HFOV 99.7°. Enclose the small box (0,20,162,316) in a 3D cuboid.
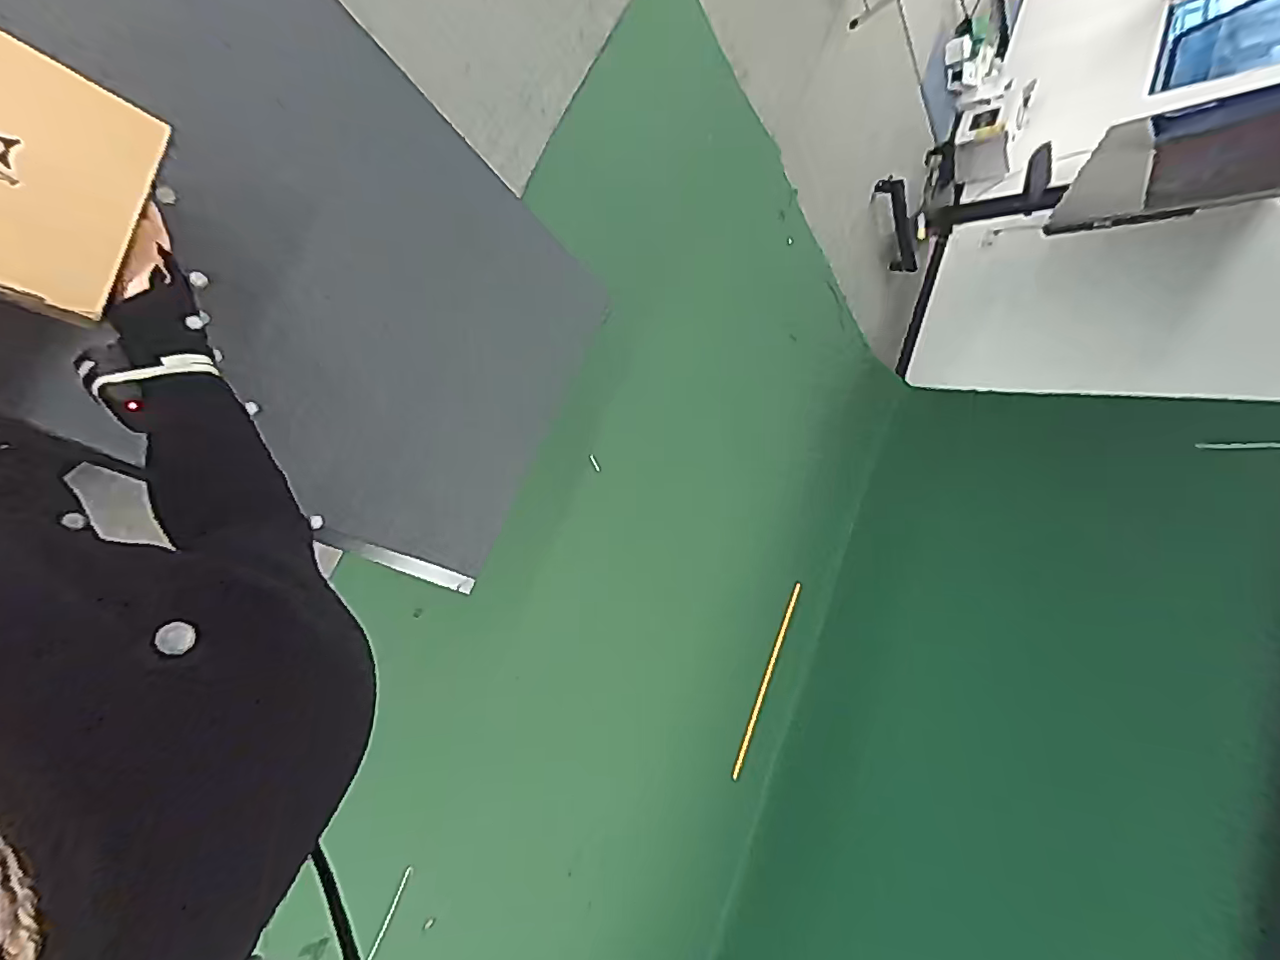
[{"bbox_3d":[-0.525,-0.249,0.431,0.168,0.176,0.179,20,83,-48],"label":"small box"}]
